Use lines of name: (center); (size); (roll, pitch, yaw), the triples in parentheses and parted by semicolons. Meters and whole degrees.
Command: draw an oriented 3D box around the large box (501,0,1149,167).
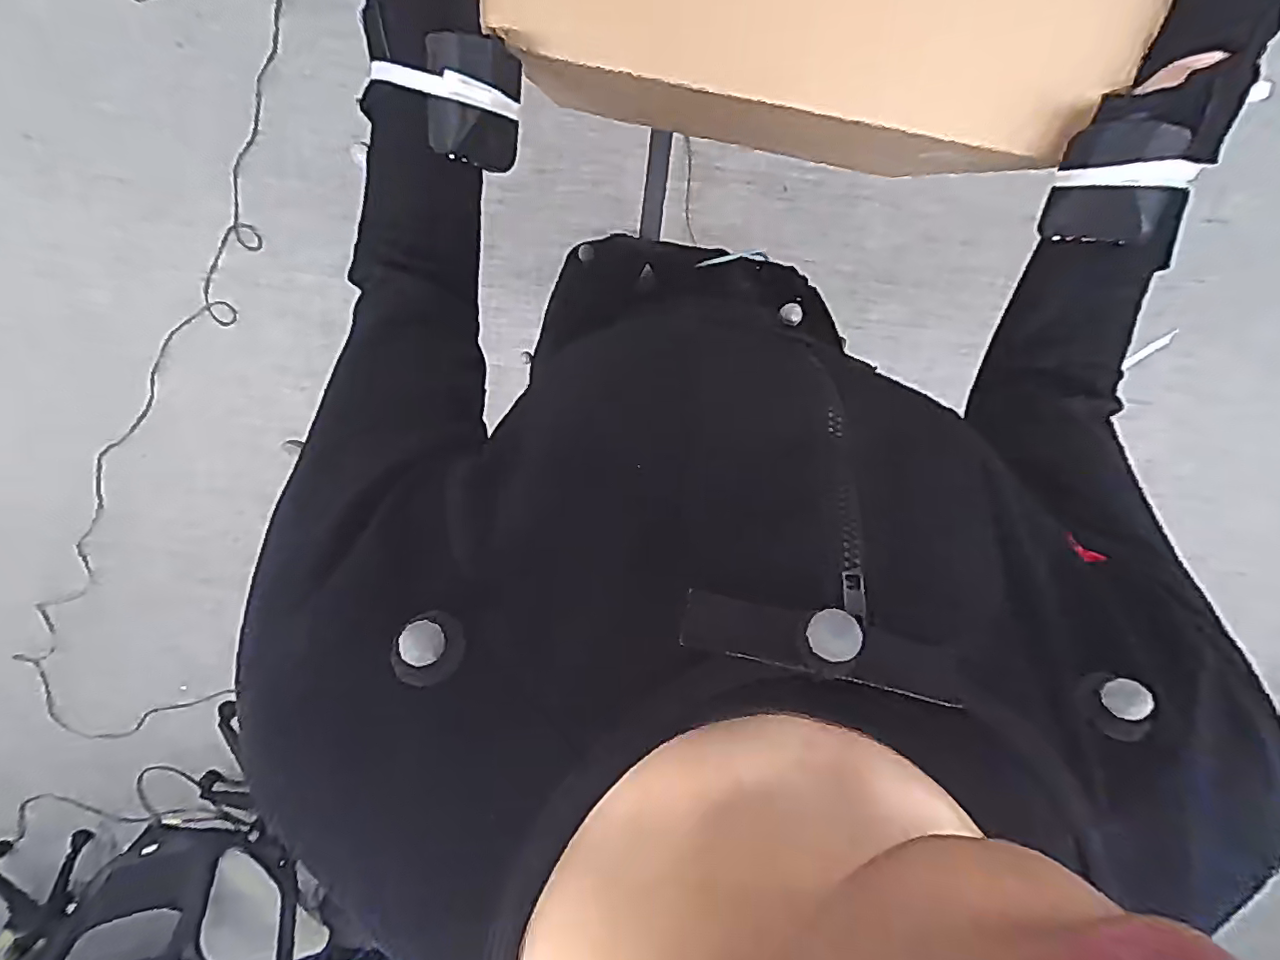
large box: (0.126, -0.453, 0.416); (0.408, 0.320, 0.320); (8, 119, -5)
